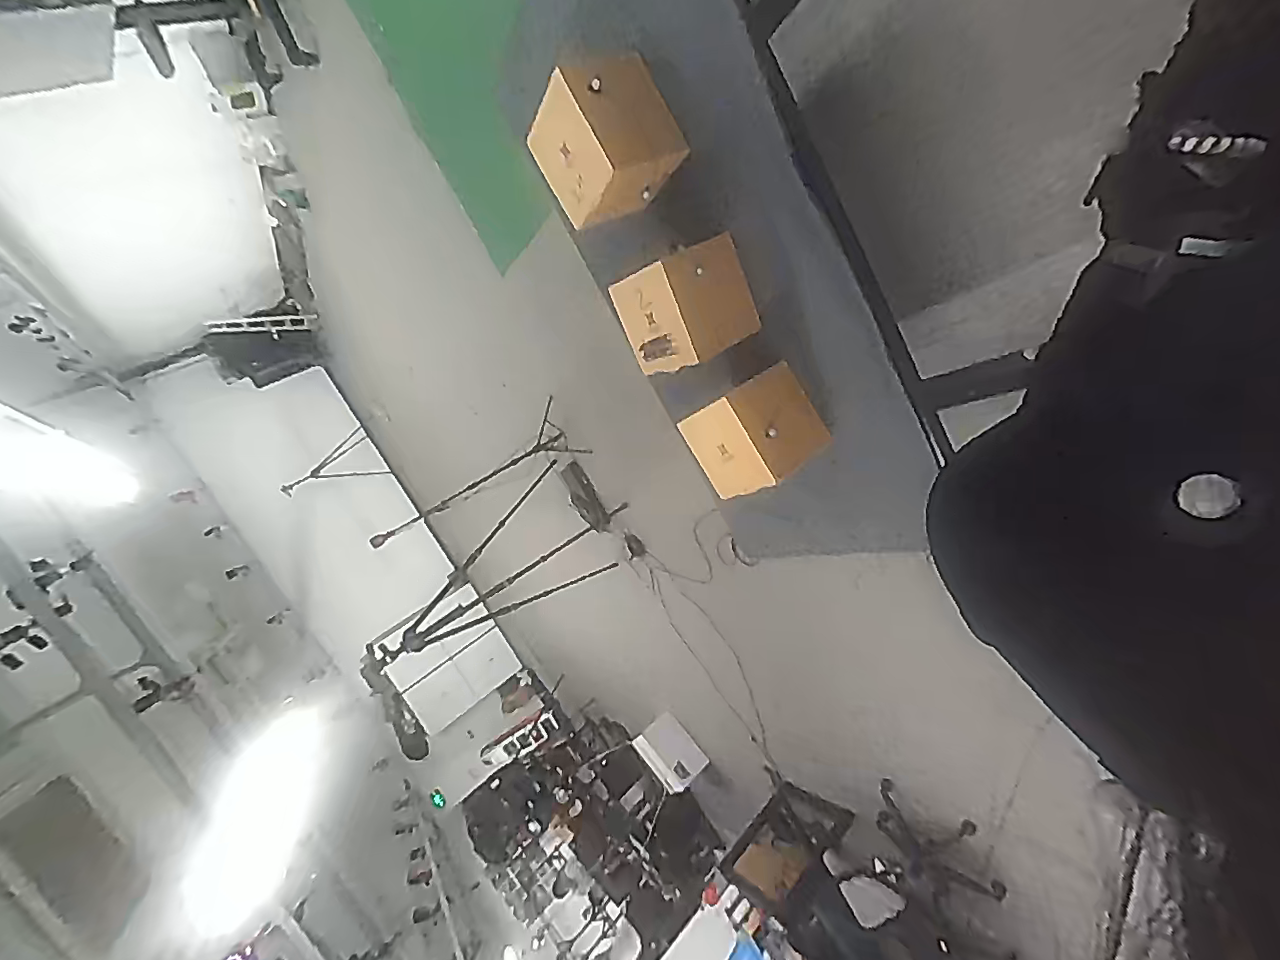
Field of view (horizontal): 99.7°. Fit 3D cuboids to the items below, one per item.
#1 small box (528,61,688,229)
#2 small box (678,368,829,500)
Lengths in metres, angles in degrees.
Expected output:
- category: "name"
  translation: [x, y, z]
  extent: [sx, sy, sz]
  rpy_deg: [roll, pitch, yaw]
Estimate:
- category: "small box"
  translation: [-0.054, -0.565, 0.913]
  extent: [0.179, 0.176, 0.168]
  rpy_deg: [60, 152, -7]
- category: "small box"
  translation: [0.210, -0.089, 1.005]
  extent: [0.179, 0.176, 0.168]
  rpy_deg: [58, 151, -4]
